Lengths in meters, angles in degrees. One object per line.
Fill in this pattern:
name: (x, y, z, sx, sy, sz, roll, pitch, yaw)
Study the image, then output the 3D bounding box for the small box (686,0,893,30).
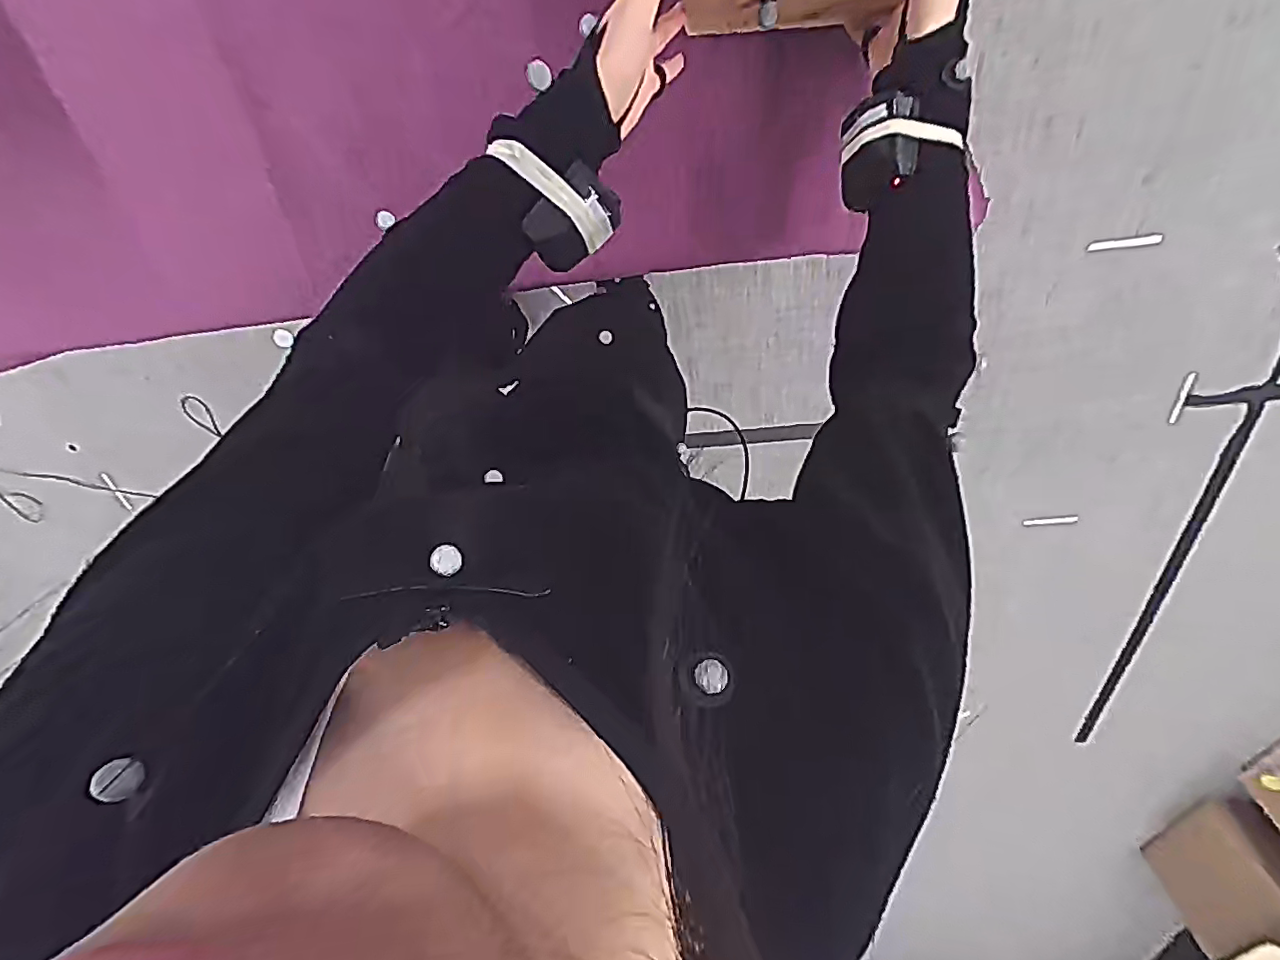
small box: (0.113, -0.426, 0.358, 0.168, 0.176, 0.179, 1, 118, 6)
